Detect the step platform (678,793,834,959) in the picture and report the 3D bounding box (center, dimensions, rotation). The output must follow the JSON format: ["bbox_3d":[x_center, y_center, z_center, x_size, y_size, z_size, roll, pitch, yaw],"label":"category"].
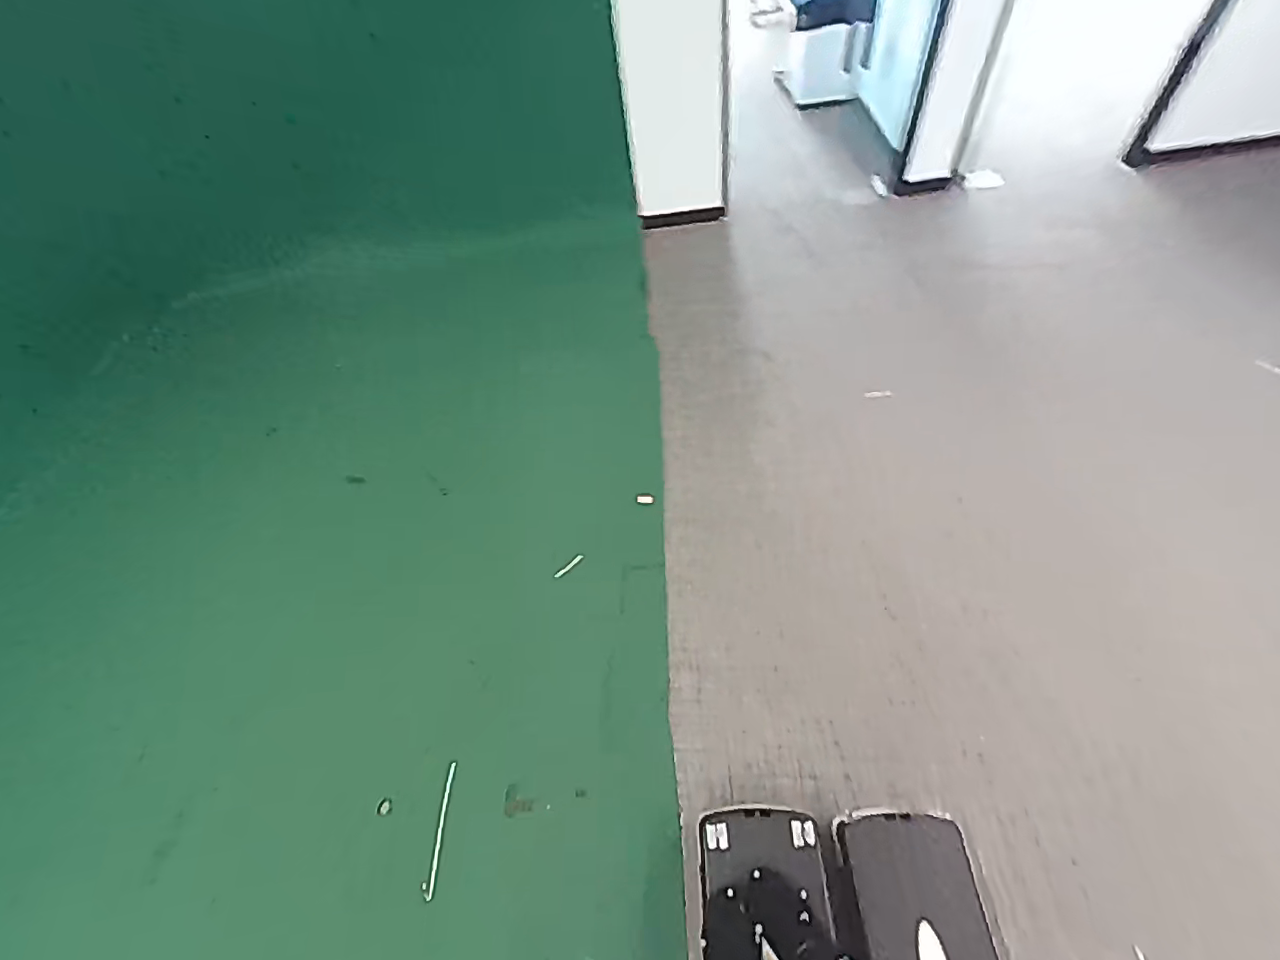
[{"bbox_3d":[0.230,0.964,0.974,0.286,0.204,0.684,-4,56,4],"label":"step platform"}]
